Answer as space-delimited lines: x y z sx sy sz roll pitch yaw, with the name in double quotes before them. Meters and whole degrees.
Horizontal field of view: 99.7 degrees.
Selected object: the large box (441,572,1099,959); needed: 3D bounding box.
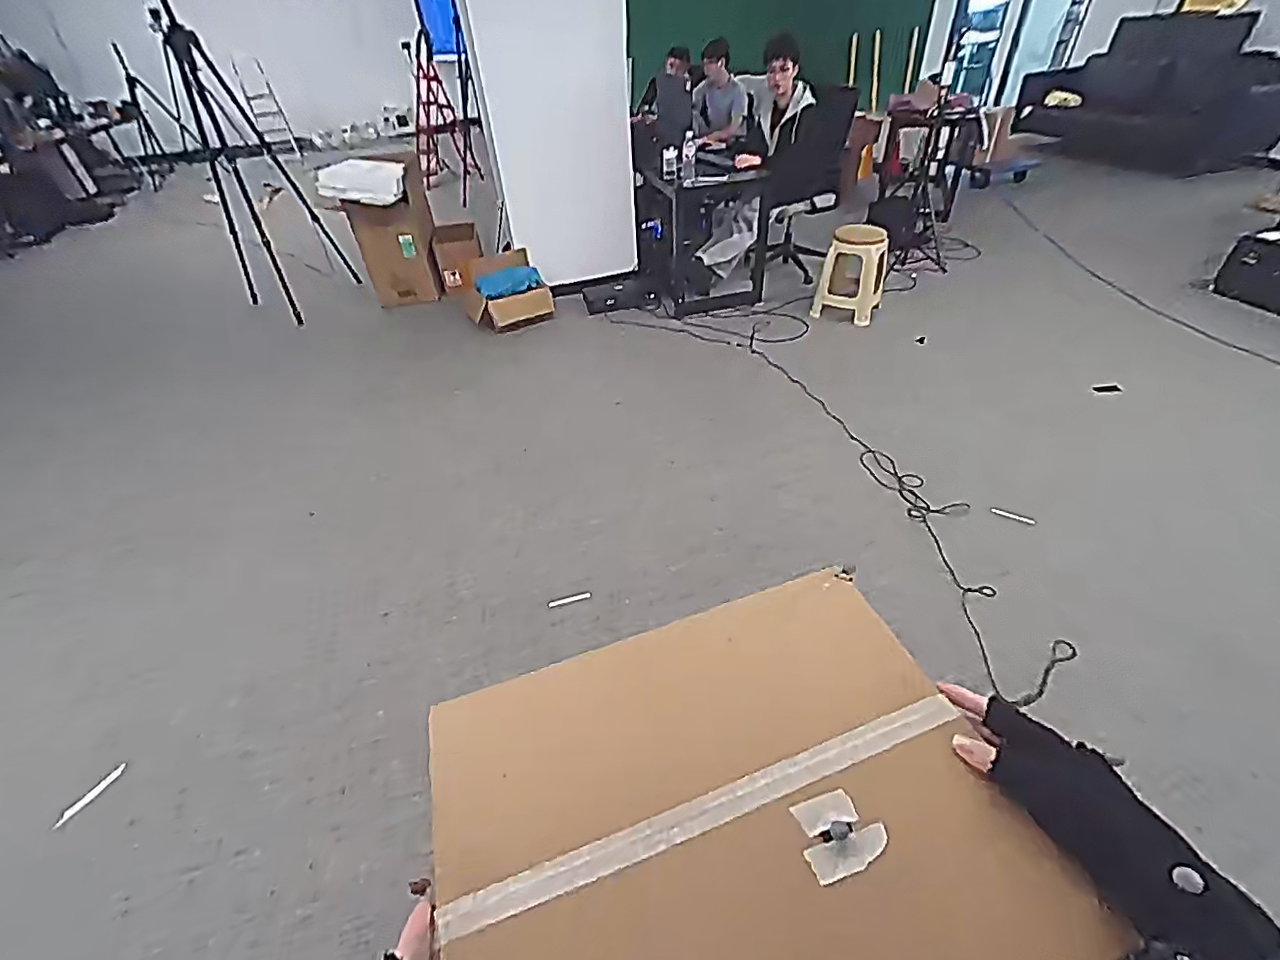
"large box" 0.070 0.352 0.508 0.408 0.320 0.320 -16 44 -12
